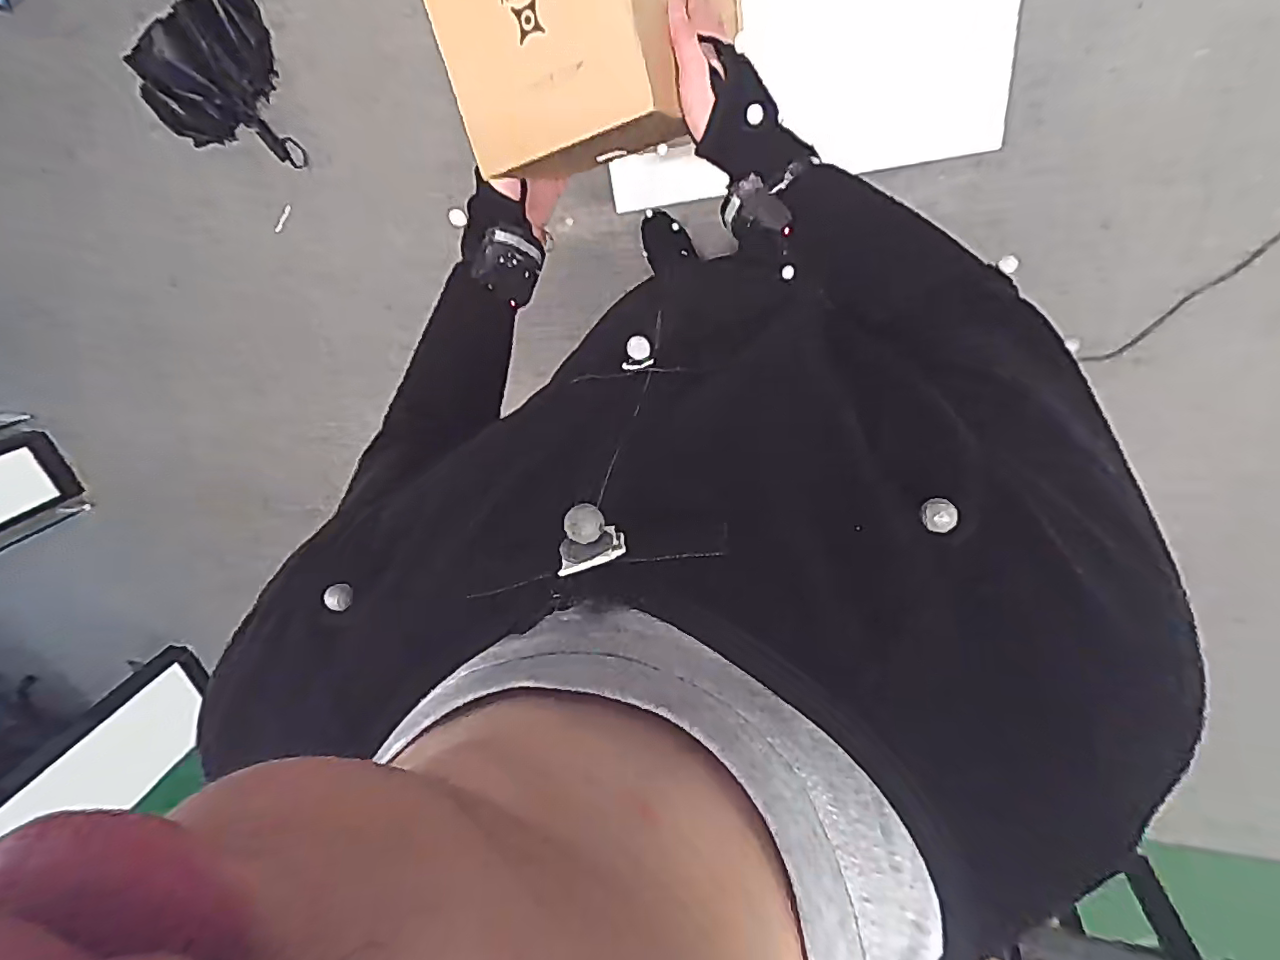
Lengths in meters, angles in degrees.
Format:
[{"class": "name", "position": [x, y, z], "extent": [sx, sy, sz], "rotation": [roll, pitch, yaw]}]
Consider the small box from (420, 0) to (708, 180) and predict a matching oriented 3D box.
[{"class": "small box", "position": [-0.054, -0.372, 0.457], "extent": [0.168, 0.176, 0.179], "rotation": [-3, 117, 27]}]

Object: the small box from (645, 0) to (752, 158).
[{"class": "small box", "position": [0.042, -0.500, 0.640], "extent": [0.168, 0.176, 0.179], "rotation": [-3, 117, 16]}]
